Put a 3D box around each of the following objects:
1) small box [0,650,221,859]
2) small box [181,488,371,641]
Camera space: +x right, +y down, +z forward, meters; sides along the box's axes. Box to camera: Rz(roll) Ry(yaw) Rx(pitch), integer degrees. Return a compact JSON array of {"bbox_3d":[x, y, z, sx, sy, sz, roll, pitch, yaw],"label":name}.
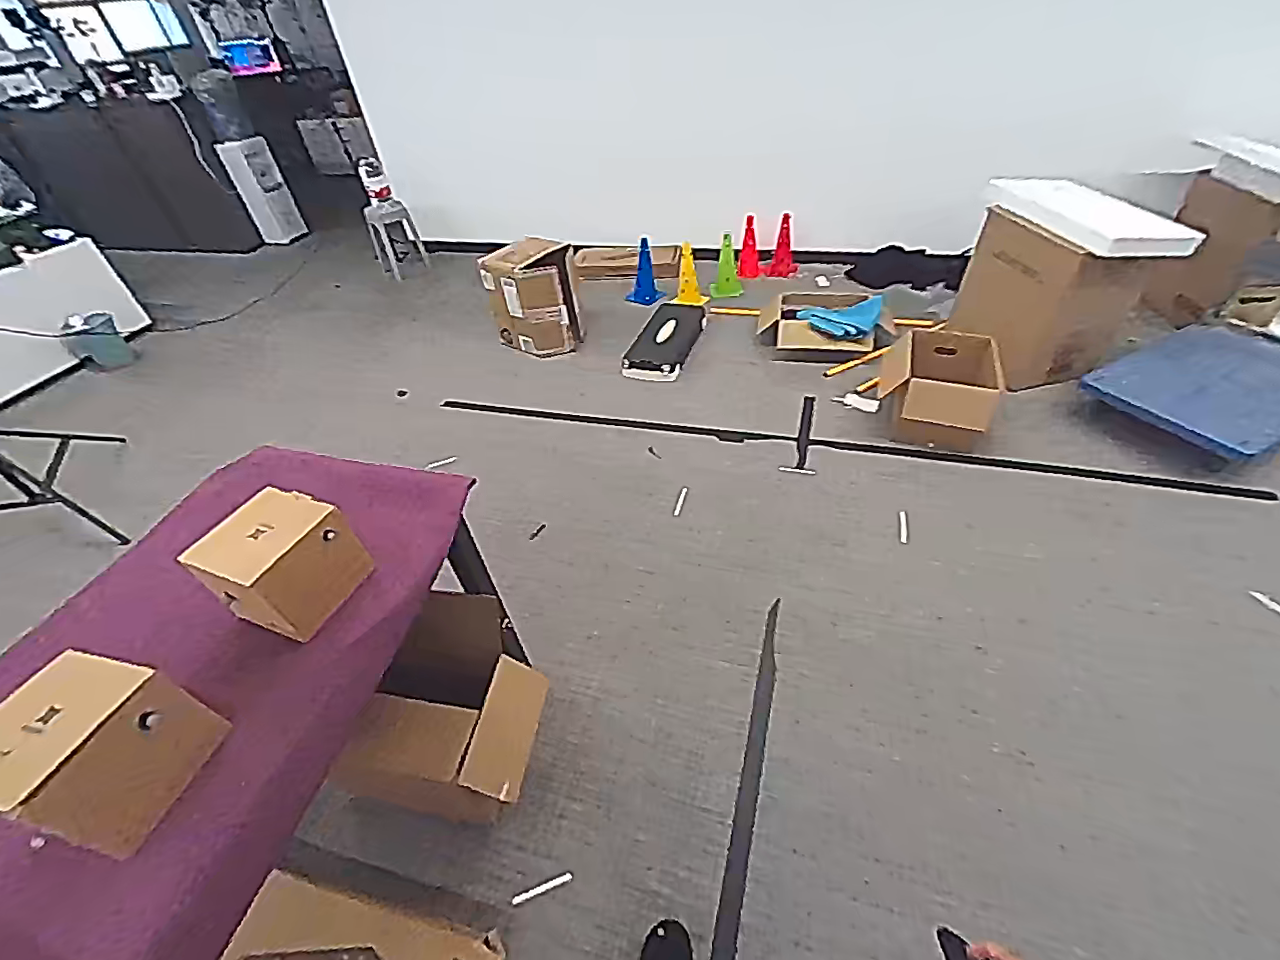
[{"bbox_3d":[-0.702,0.354,0.703,0.168,0.176,0.179,5,44,15],"label":"small box"},{"bbox_3d":[-0.600,0.144,0.920,0.168,0.176,0.179,12,45,19],"label":"small box"}]
